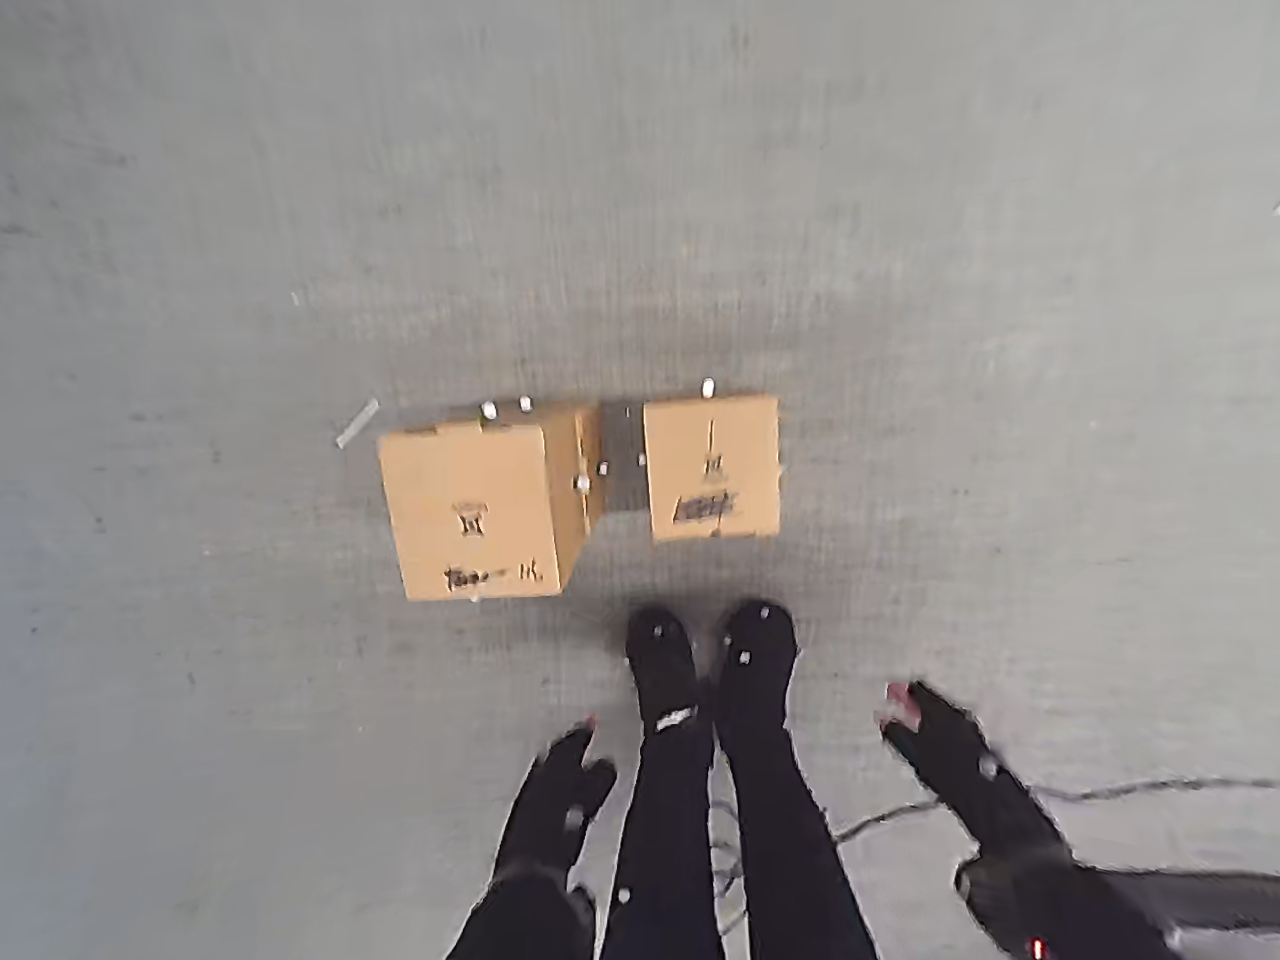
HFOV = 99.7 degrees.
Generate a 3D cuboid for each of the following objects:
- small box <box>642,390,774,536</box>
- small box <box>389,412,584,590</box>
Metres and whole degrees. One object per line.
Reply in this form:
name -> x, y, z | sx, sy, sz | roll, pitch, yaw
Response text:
small box -> 0.094, -0.031, 0.766 | 0.168, 0.176, 0.179 | -3, 102, 4
small box -> -0.162, 0.013, 0.627 | 0.168, 0.176, 0.179 | -2, 102, 4
